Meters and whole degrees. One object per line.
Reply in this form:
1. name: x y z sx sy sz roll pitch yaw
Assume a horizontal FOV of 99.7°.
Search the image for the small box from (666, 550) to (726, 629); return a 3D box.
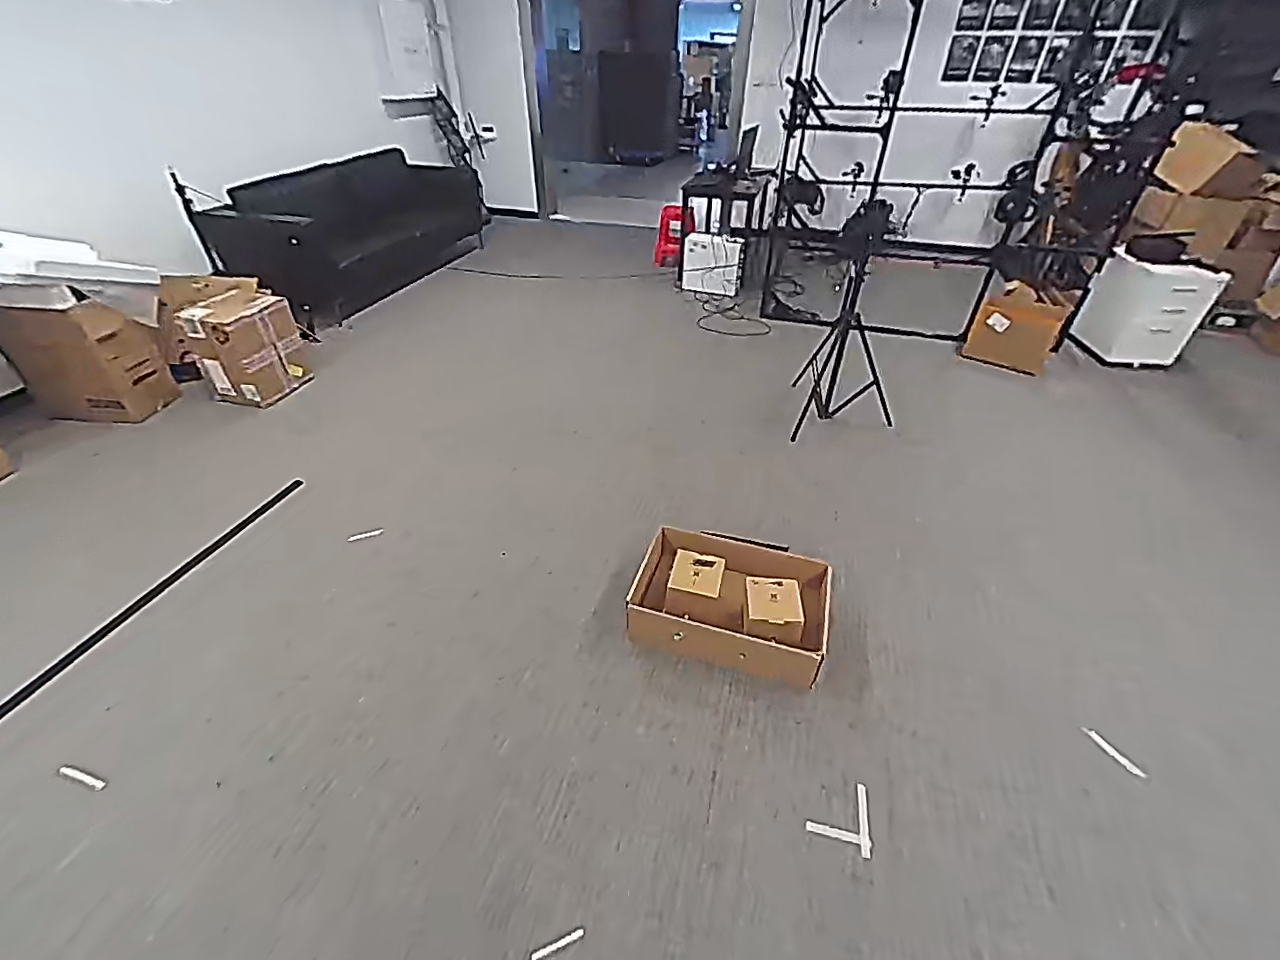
1. small box: 0.186 0.366 1.817 0.168 0.176 0.179 10 39 11
